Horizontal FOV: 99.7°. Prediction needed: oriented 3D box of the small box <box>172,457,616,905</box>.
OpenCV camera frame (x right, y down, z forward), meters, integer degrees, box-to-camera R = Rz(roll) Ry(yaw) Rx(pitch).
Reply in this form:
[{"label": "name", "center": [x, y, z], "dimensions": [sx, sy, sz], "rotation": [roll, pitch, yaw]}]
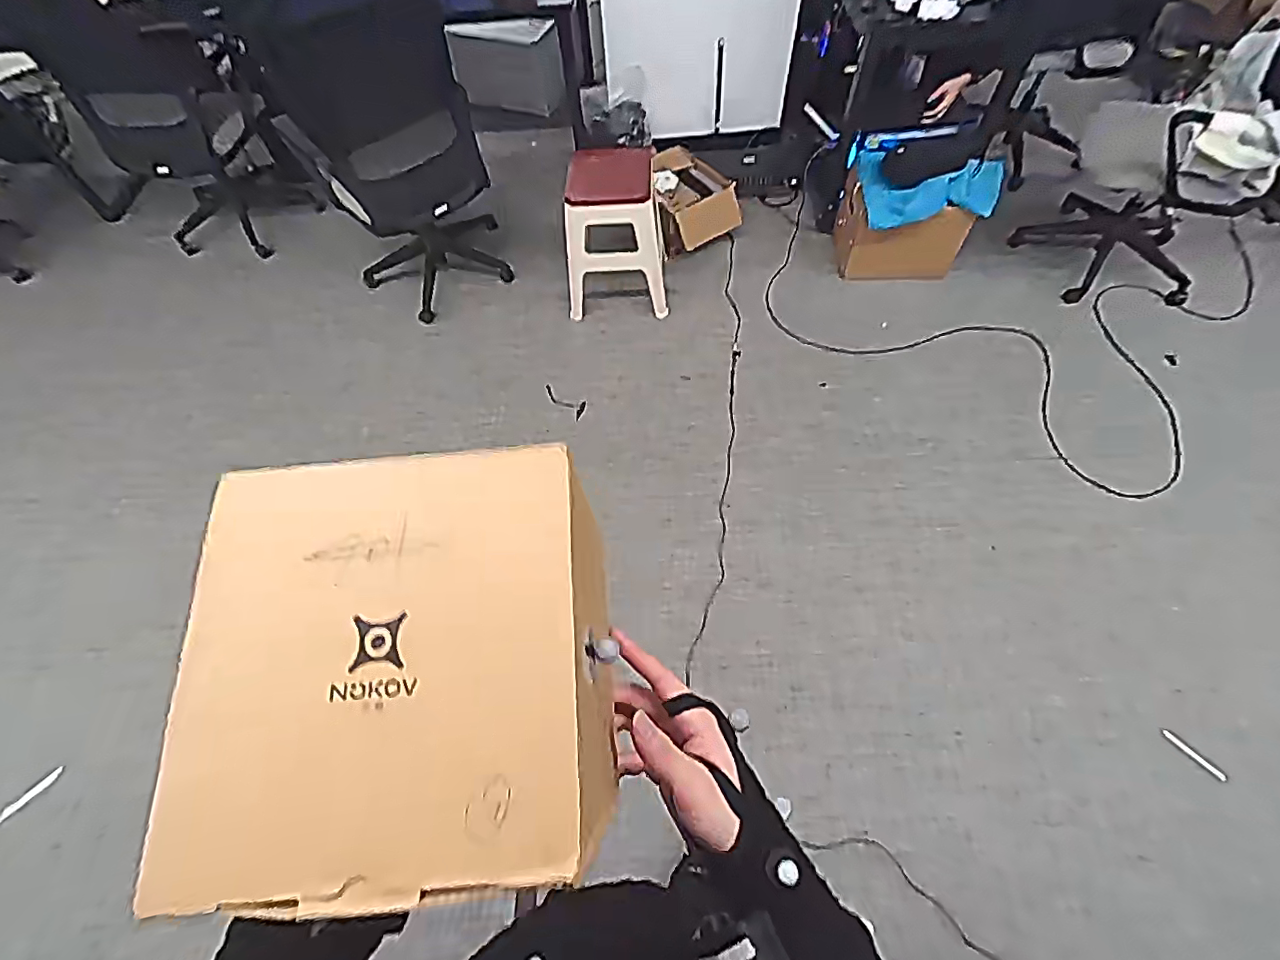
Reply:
[{"label": "small box", "center": [-0.105, 0.103, 0.312], "dimensions": [0.168, 0.176, 0.179], "rotation": [-5, 70, 0]}]
